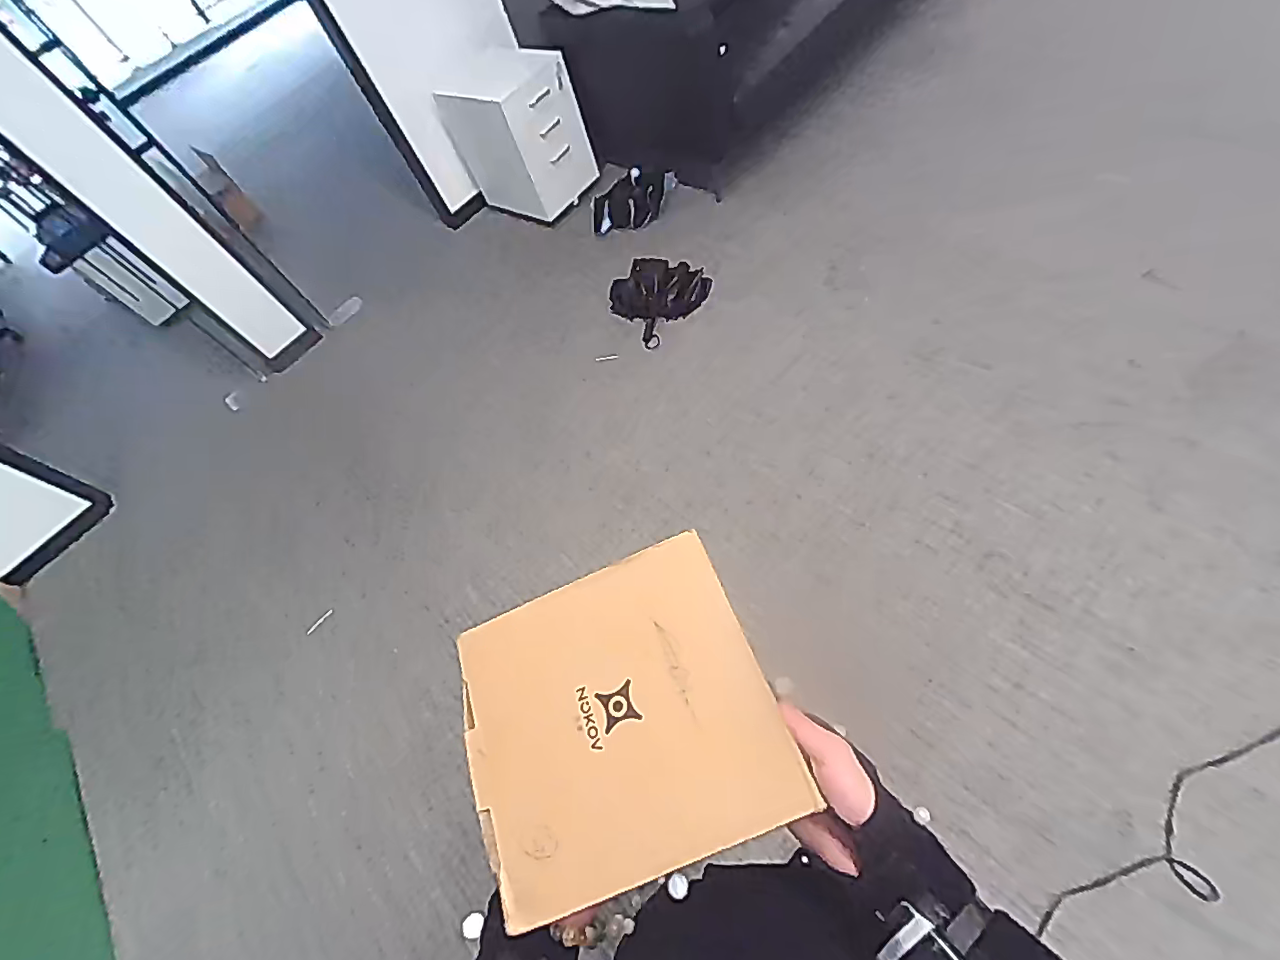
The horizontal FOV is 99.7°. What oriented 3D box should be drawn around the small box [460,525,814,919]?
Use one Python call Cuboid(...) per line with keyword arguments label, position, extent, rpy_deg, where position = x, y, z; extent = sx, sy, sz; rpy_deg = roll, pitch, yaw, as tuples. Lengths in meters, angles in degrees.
Cuboid(label="small box", position=(0.005, 0.163, 0.381), extent=(0.179, 0.176, 0.168), rpy_deg=(-25, 60, 2))
